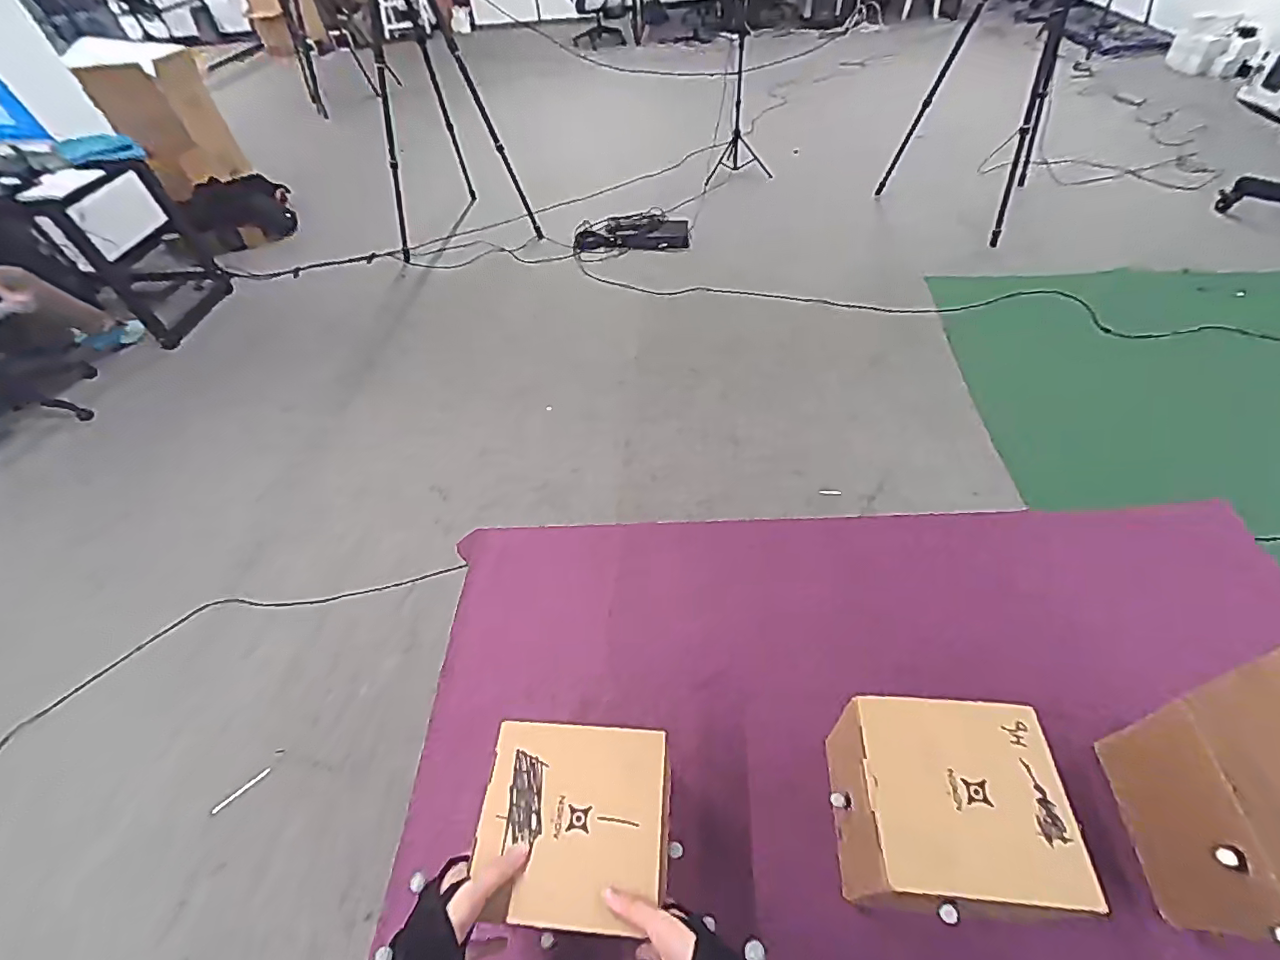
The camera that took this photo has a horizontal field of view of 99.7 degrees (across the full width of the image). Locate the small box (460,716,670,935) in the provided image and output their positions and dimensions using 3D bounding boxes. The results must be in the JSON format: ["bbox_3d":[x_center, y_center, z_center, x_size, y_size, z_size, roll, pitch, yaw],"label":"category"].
[{"bbox_3d":[-0.061,0.368,0.575,0.179,0.176,0.168,1,49,6],"label":"small box"}]

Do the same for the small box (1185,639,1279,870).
[{"bbox_3d":[0.603,0.227,0.415,0.168,0.176,0.179,1,50,6],"label":"small box"}]

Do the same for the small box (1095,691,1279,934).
[{"bbox_3d":[0.614,0.334,0.540,0.168,0.176,0.179,2,50,8],"label":"small box"}]

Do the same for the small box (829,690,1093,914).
[{"bbox_3d":[0.303,0.337,0.565,0.179,0.176,0.168,2,49,7],"label":"small box"}]
